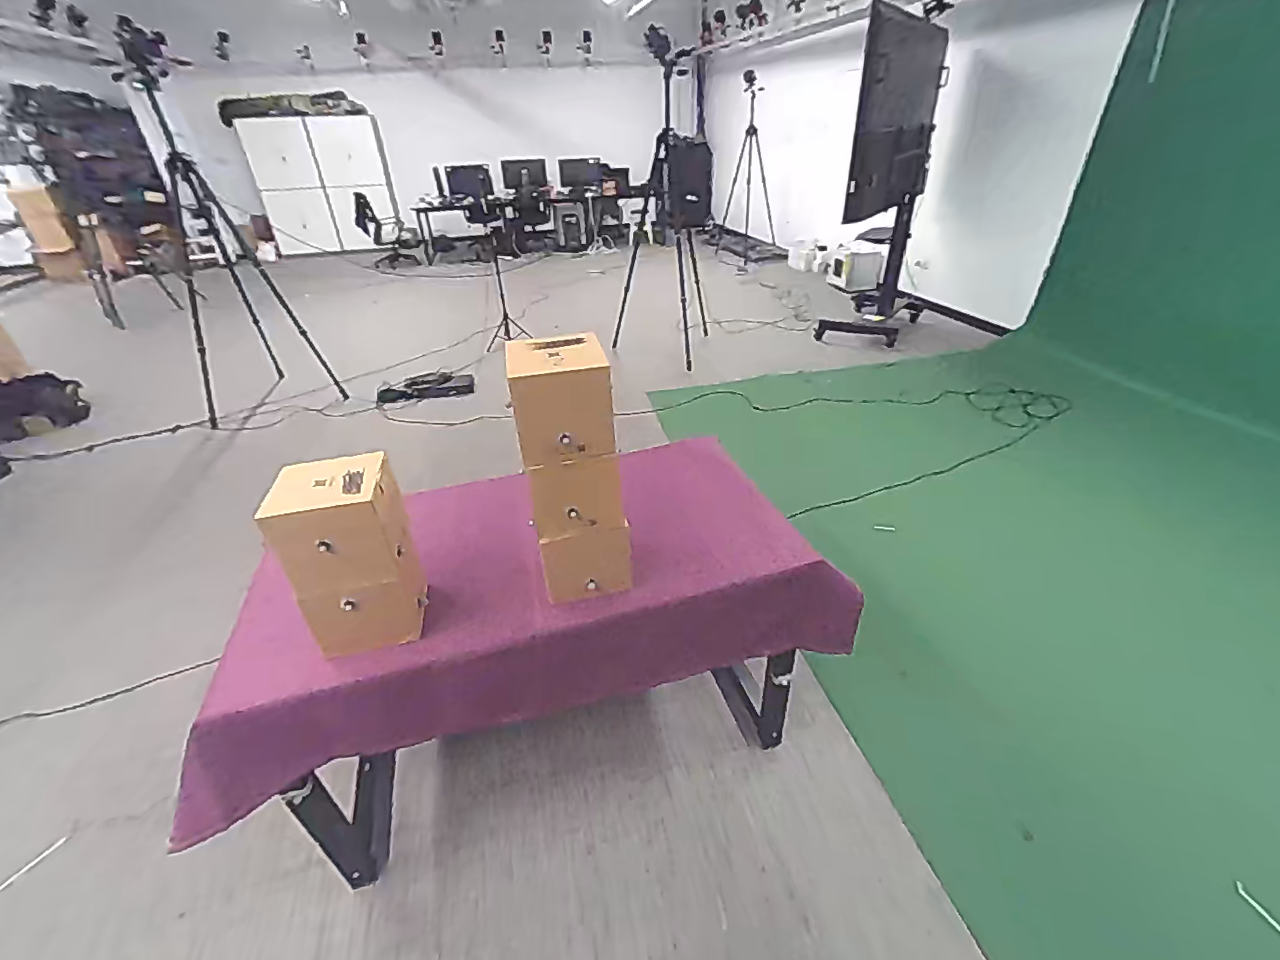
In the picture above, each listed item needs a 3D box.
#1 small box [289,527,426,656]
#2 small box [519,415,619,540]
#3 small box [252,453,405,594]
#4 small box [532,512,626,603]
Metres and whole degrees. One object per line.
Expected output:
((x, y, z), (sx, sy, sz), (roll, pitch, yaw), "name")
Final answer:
((-0.531, 0.215, 1.043), (0.179, 0.176, 0.168), (-9, 34, -11), "small box")
((-0.140, -0.008, 1.061), (0.168, 0.176, 0.179), (-10, 35, -11), "small box")
((-0.532, 0.075, 0.957), (0.179, 0.176, 0.168), (-11, 34, -10), "small box")
((-0.130, 0.134, 1.141), (0.179, 0.176, 0.168), (-10, 33, -12), "small box")
